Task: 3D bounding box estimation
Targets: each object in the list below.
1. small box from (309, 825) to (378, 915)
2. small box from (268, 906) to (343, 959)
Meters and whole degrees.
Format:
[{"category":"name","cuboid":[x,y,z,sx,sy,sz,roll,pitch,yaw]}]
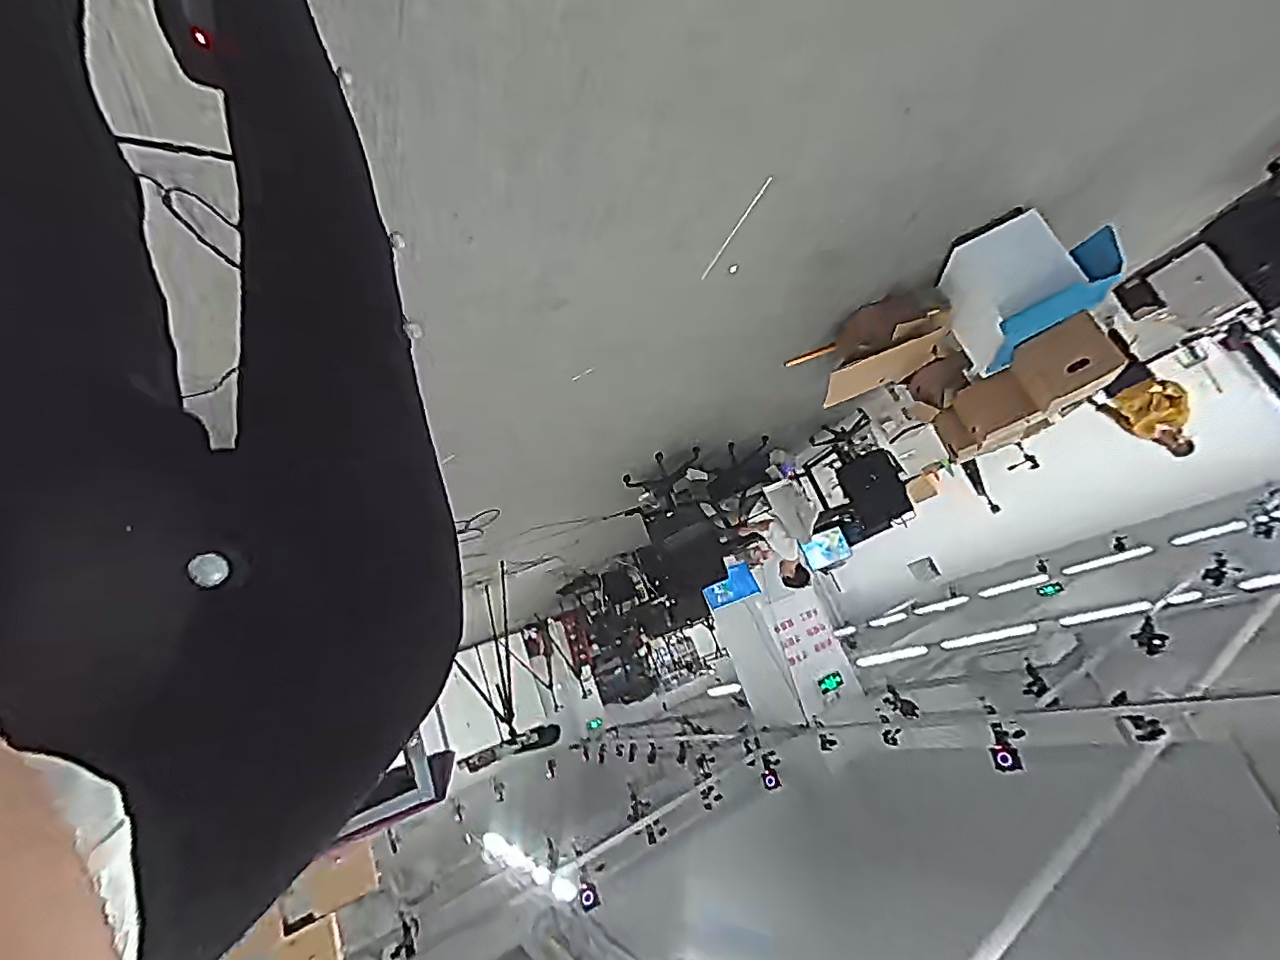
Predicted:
[{"category":"small box","cuboid":[-0.963,1.254,1.754,0.179,0.176,0.168,-11,161,-30]},{"category":"small box","cuboid":[-1.014,1.422,1.644,0.168,0.176,0.179,-12,162,-32]}]
